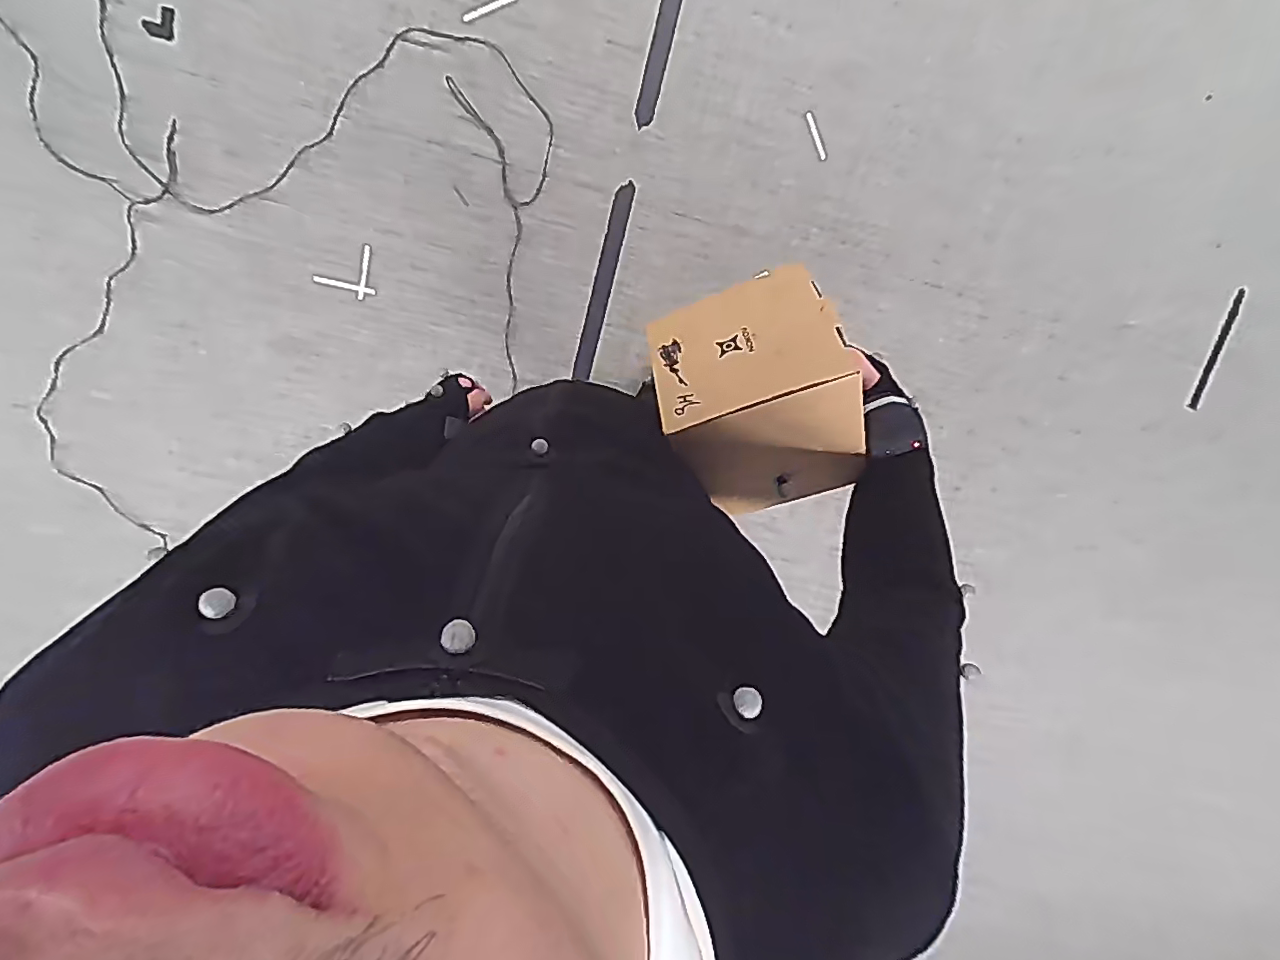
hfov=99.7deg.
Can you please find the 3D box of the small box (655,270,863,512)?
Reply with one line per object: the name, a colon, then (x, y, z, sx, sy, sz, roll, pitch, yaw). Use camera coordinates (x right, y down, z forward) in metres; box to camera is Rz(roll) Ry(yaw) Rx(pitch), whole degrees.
small box: (0.131, -0.089, 0.596, 0.179, 0.168, 0.176, -17, 141, 13)
